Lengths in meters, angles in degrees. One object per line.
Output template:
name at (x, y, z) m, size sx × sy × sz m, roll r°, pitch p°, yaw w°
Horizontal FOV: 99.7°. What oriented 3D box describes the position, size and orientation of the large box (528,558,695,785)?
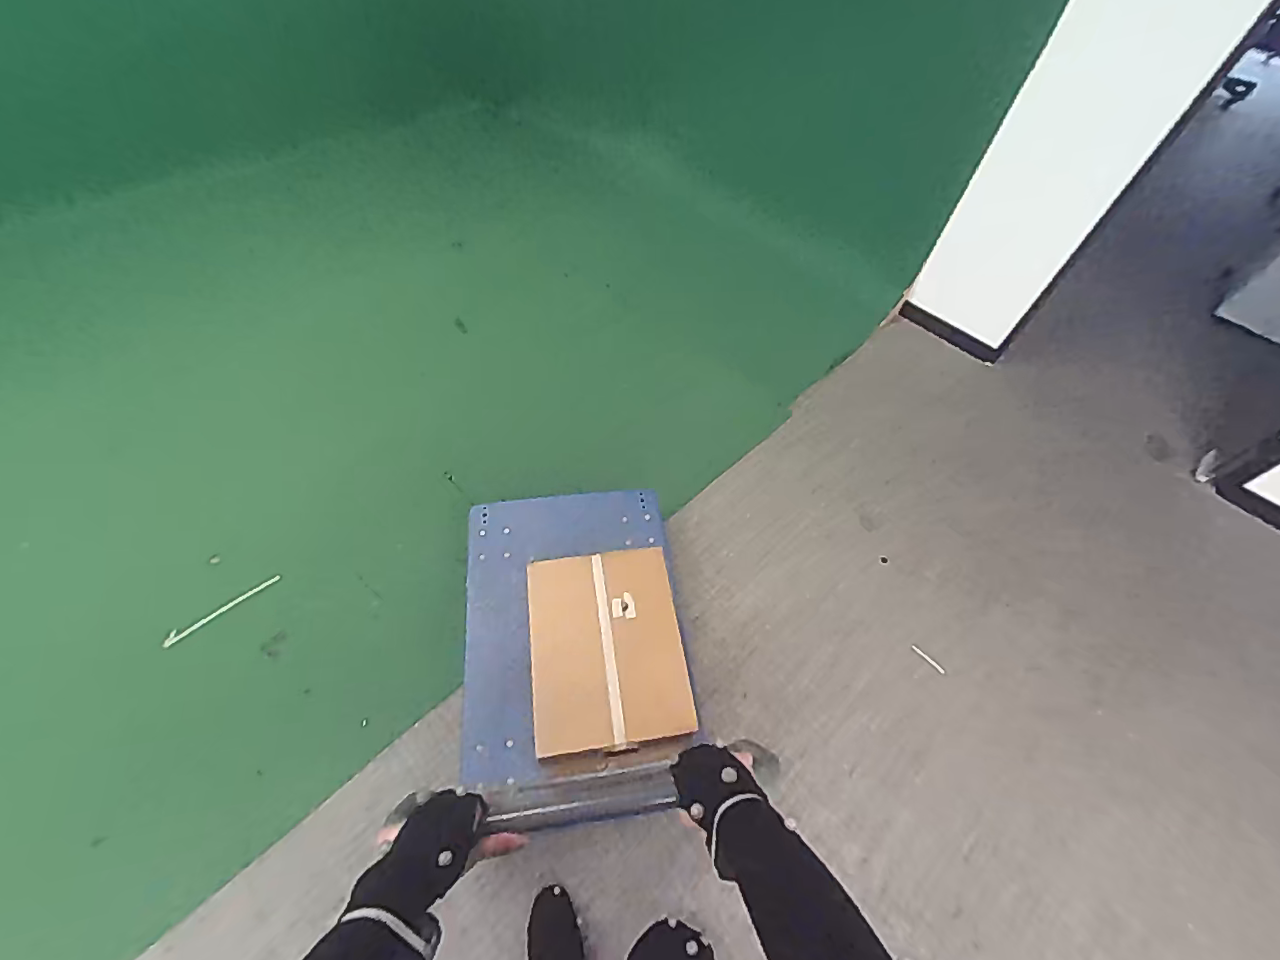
large box at (-0.080, 0.445, 1.263) m, size 0.320 × 0.320 × 0.408 m, roll -5°, pitch 54°, yaw -8°
